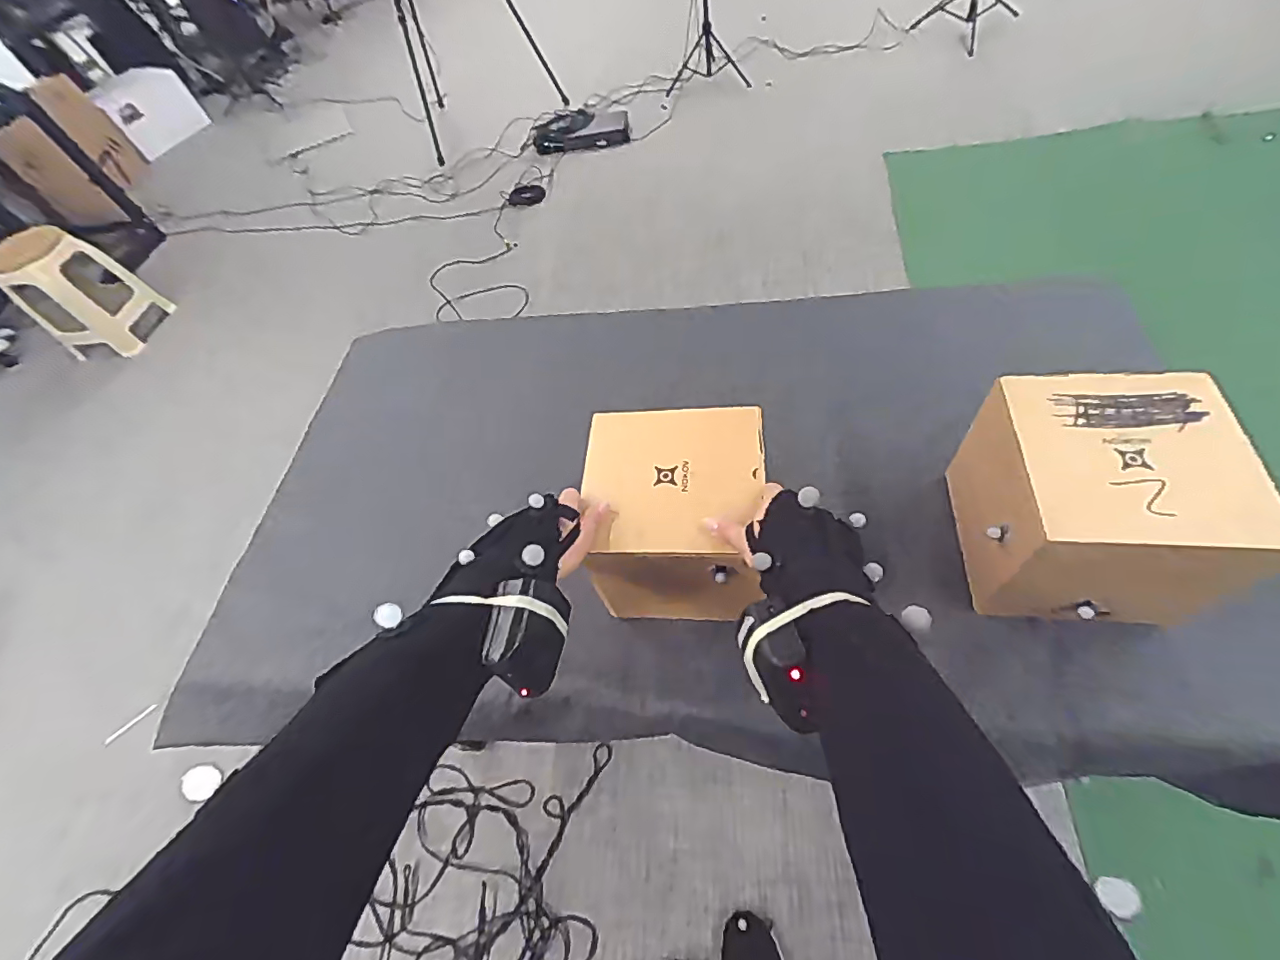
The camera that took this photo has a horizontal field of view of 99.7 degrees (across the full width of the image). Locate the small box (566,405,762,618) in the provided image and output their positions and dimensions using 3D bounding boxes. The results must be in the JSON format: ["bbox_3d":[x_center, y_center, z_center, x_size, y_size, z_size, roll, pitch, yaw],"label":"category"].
[{"bbox_3d":[0.038,0.039,0.576,0.179,0.176,0.168,-1,56,10],"label":"small box"}]
